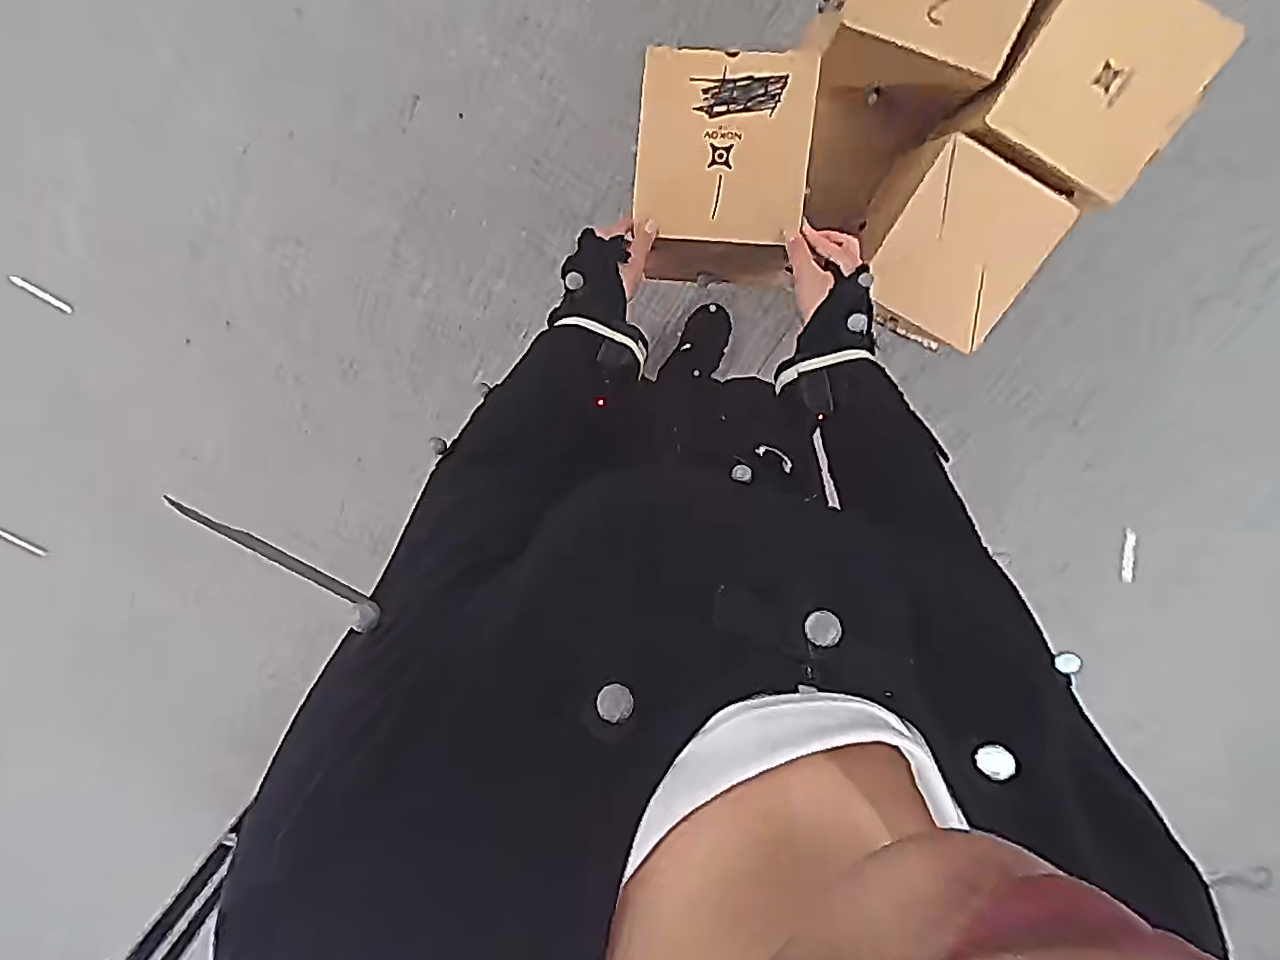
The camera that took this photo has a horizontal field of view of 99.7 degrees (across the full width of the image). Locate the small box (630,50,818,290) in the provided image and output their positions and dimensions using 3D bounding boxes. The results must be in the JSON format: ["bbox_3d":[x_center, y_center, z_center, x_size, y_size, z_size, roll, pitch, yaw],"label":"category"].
[{"bbox_3d":[0.086,-0.326,0.600,0.168,0.176,0.179,6,97,5],"label":"small box"}]
